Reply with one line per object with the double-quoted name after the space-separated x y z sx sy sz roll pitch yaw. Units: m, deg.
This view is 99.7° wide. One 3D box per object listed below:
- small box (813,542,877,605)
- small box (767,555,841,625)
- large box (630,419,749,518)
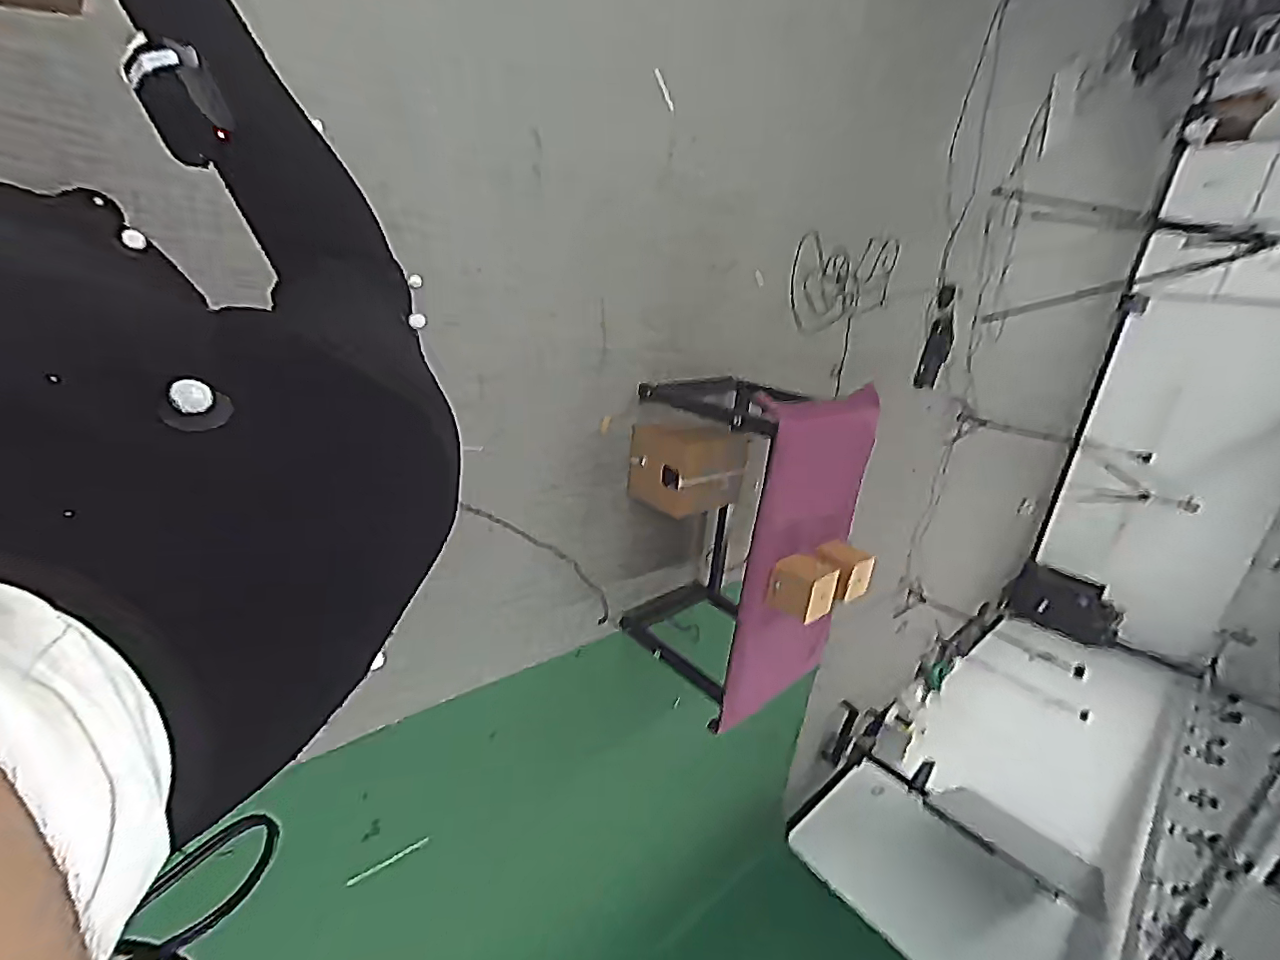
0.781 0.354 2.096 0.179 0.176 0.168 -8 114 -40 "small box"
0.577 0.381 1.913 0.179 0.176 0.168 -10 114 -41 "small box"
0.206 -0.069 2.317 0.408 0.320 0.320 -12 117 -41 "large box"
